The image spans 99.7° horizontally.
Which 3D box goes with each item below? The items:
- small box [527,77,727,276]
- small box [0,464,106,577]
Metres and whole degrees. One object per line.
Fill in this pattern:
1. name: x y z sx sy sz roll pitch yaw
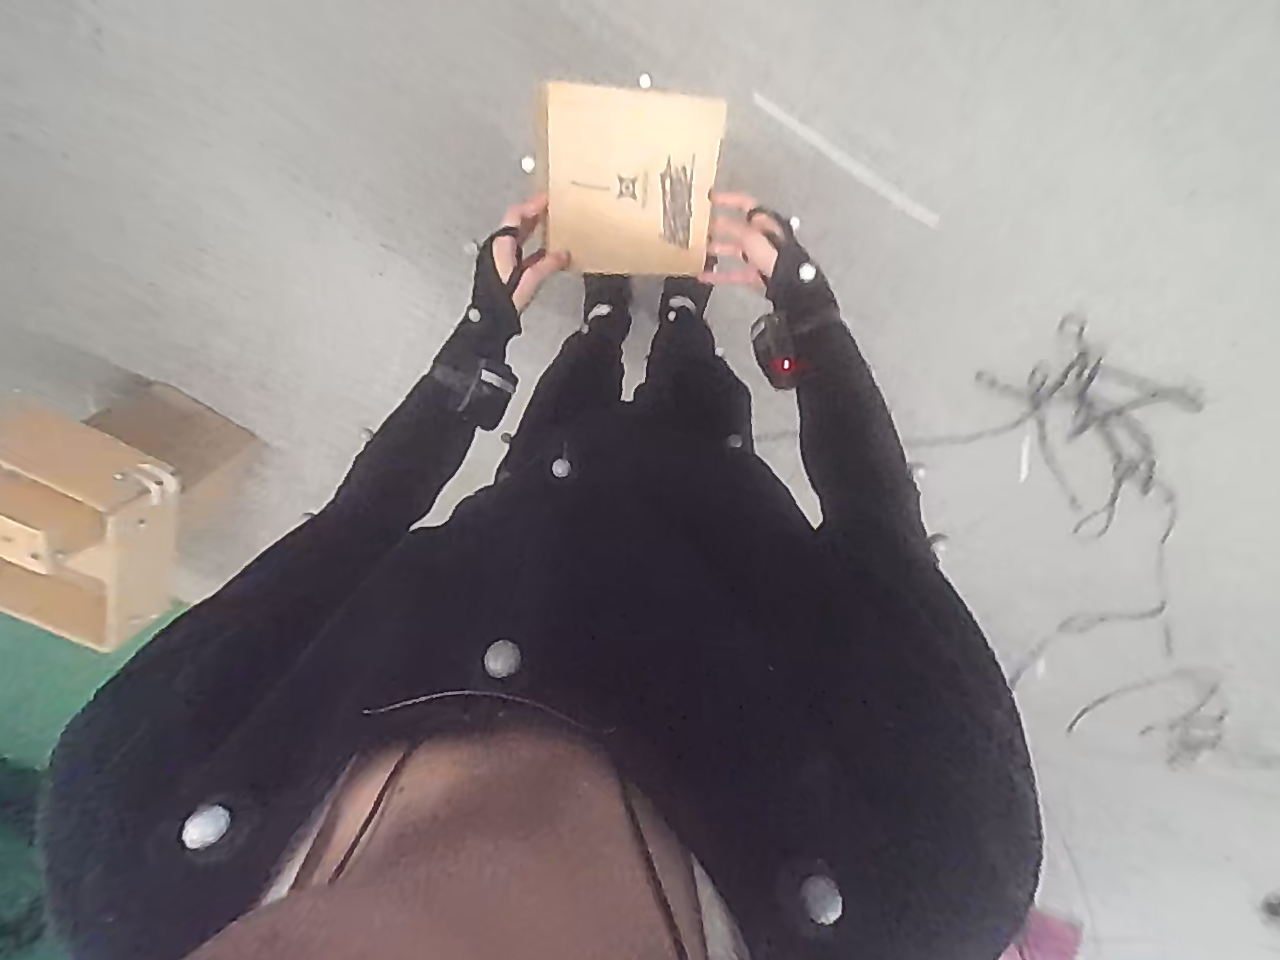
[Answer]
1. small box: -0.027 -0.333 0.597 0.179 0.176 0.168 -4 124 -14
2. small box: -1.419 0.086 1.263 0.179 0.176 0.168 32 122 -12
